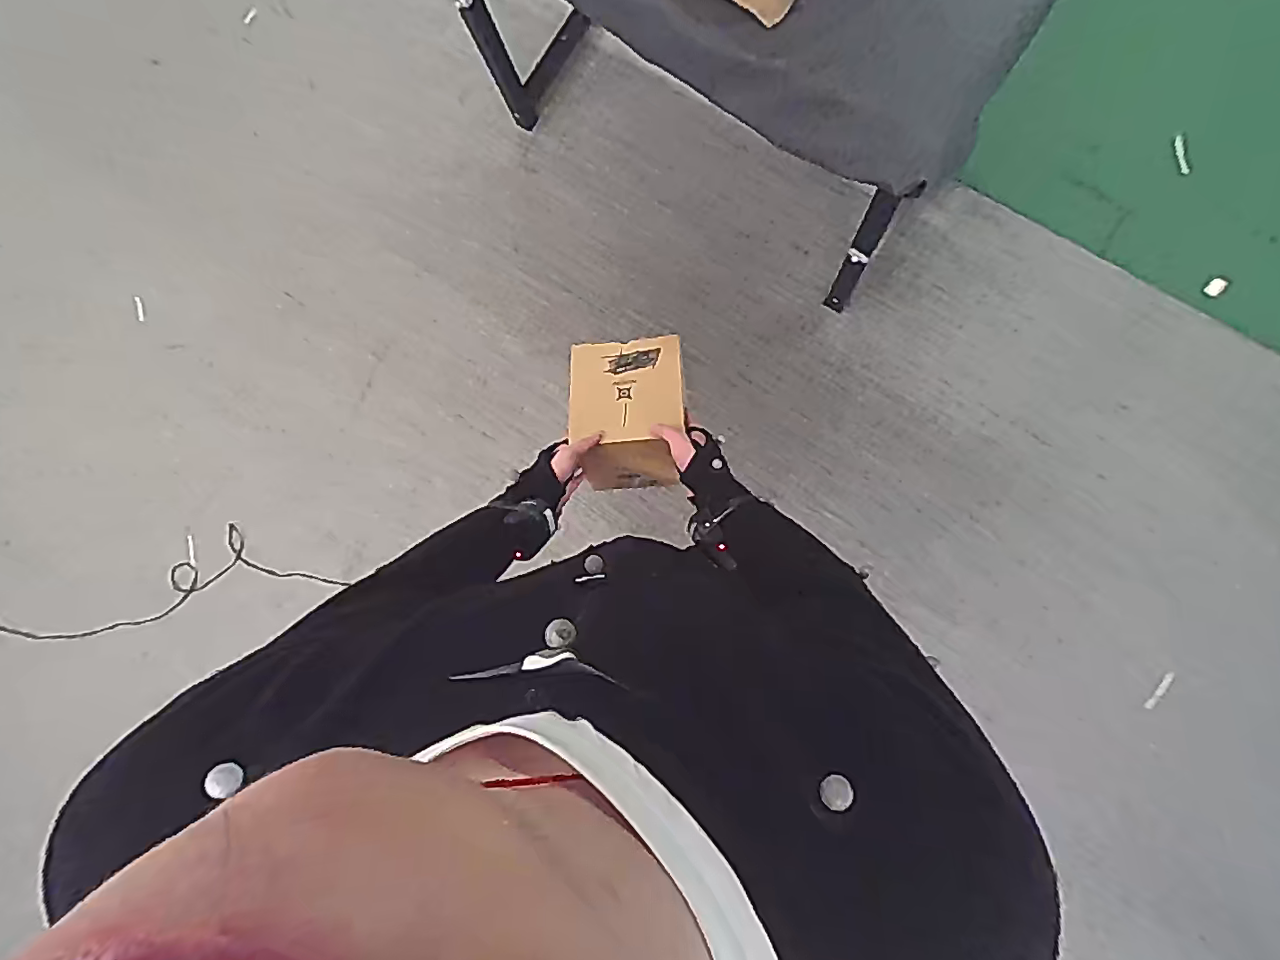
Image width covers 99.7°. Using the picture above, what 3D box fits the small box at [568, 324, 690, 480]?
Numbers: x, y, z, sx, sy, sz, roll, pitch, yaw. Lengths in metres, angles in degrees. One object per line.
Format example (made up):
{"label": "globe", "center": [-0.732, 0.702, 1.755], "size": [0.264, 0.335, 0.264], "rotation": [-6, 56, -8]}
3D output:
{"label": "small box", "center": [-0.011, -0.116, 0.849], "size": [0.168, 0.176, 0.179], "rotation": [-5, 68, 7]}
